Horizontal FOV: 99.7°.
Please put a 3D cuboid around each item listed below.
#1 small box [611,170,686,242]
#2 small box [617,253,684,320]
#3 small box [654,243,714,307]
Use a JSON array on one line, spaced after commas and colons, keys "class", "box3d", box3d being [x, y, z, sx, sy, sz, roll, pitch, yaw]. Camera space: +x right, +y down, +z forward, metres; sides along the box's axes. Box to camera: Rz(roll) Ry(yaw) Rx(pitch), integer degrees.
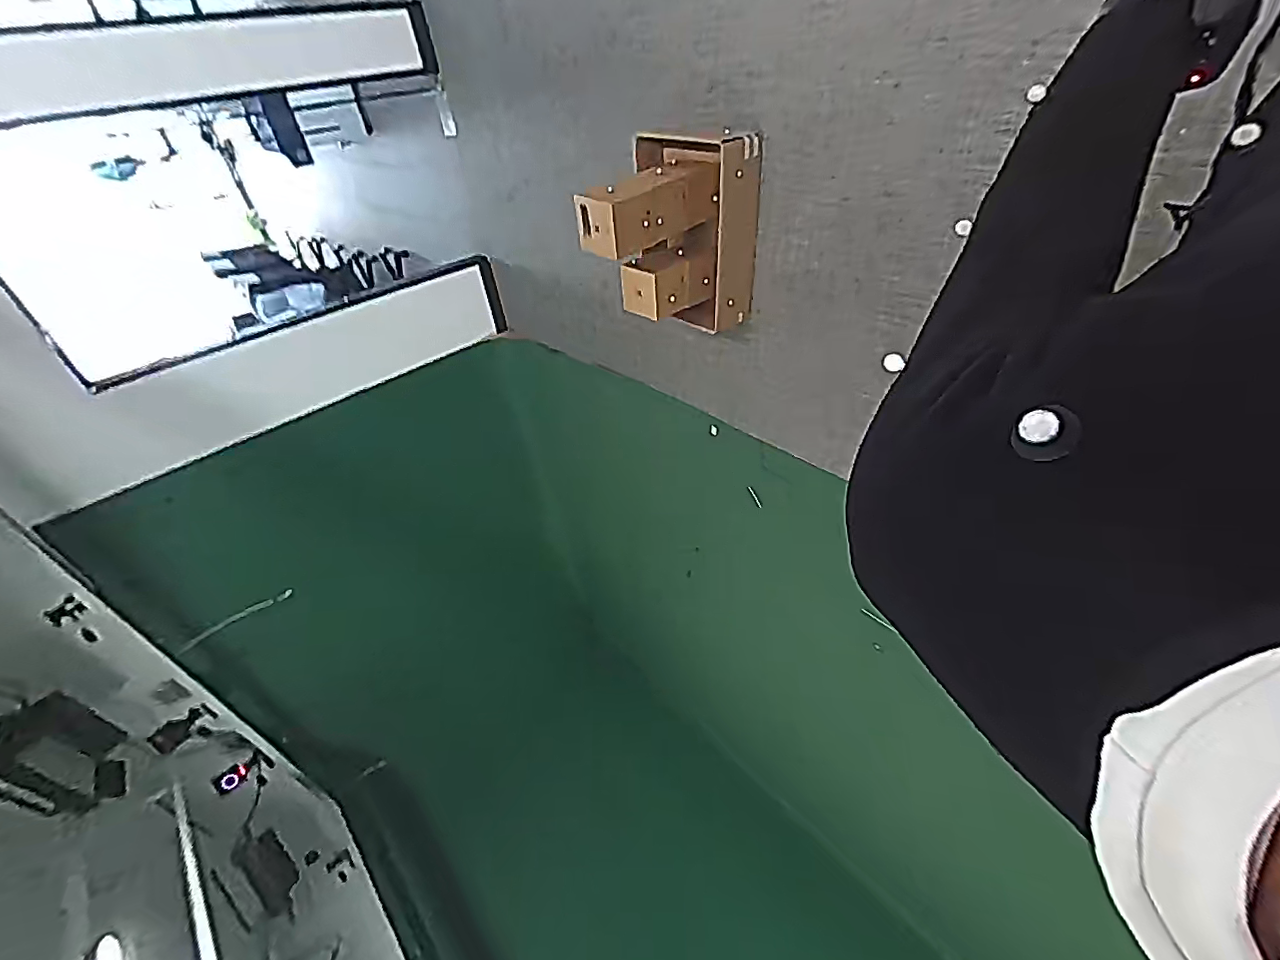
[{"class": "small box", "box3d": [0.030, -0.894, 1.754, 0.179, 0.176, 0.168, 33, 145, 36]}, {"class": "small box", "box3d": [0.043, -0.694, 1.925, 0.179, 0.176, 0.168, 32, 142, 37]}, {"class": "small box", "box3d": [0.160, -0.767, 2.009, 0.179, 0.176, 0.168, 33, 142, 35]}]
